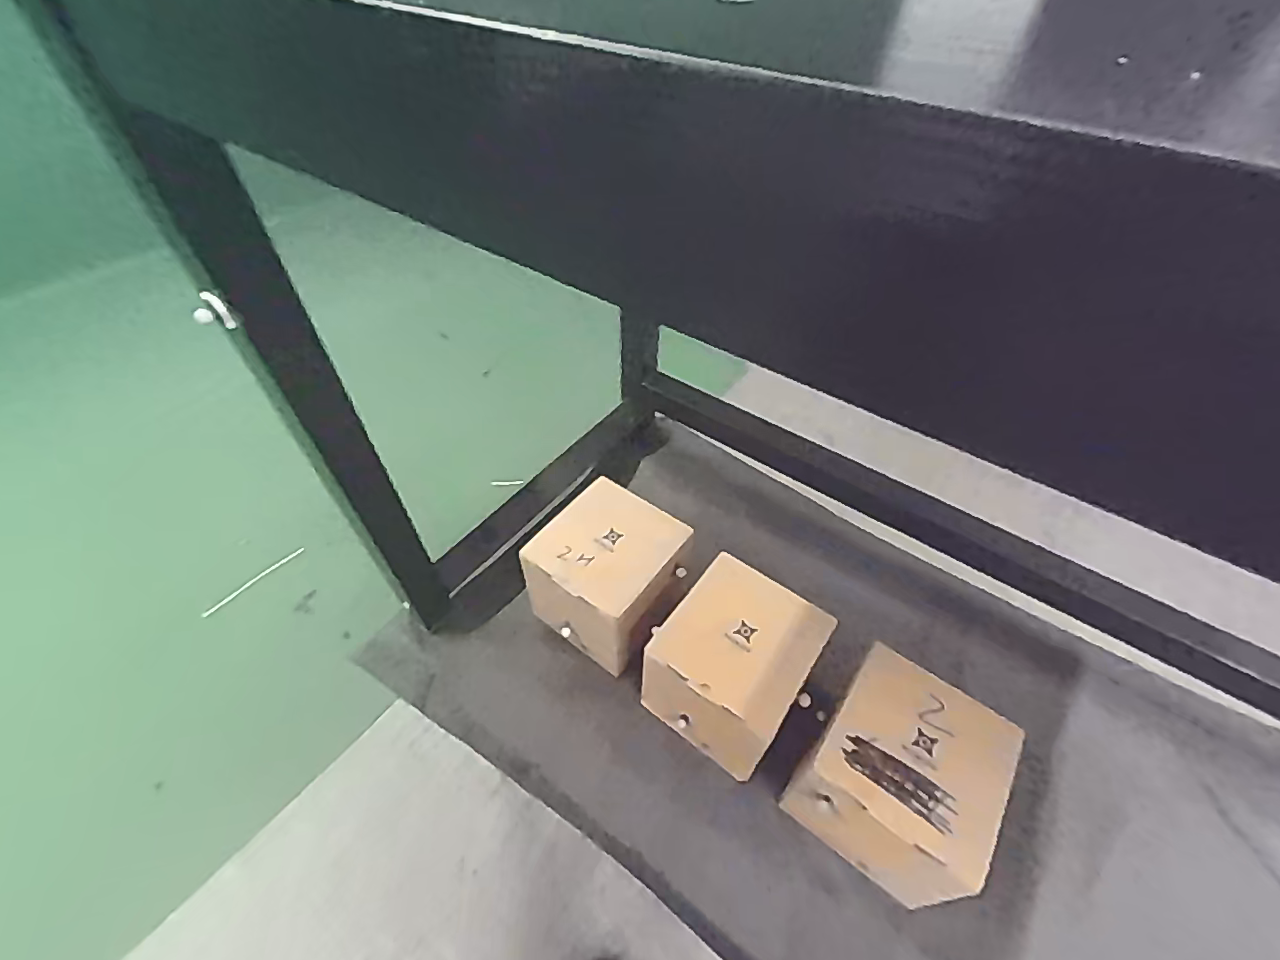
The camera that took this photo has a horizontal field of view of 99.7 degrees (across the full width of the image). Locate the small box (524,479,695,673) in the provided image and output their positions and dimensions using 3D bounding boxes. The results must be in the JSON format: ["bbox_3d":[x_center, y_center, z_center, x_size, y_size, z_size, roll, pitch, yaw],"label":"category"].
[{"bbox_3d":[-0.044,0.138,0.780,0.168,0.176,0.179,30,54,23],"label":"small box"}]

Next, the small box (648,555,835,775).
[{"bbox_3d":[0.120,0.238,0.698,0.168,0.176,0.179,30,55,23],"label":"small box"}]
